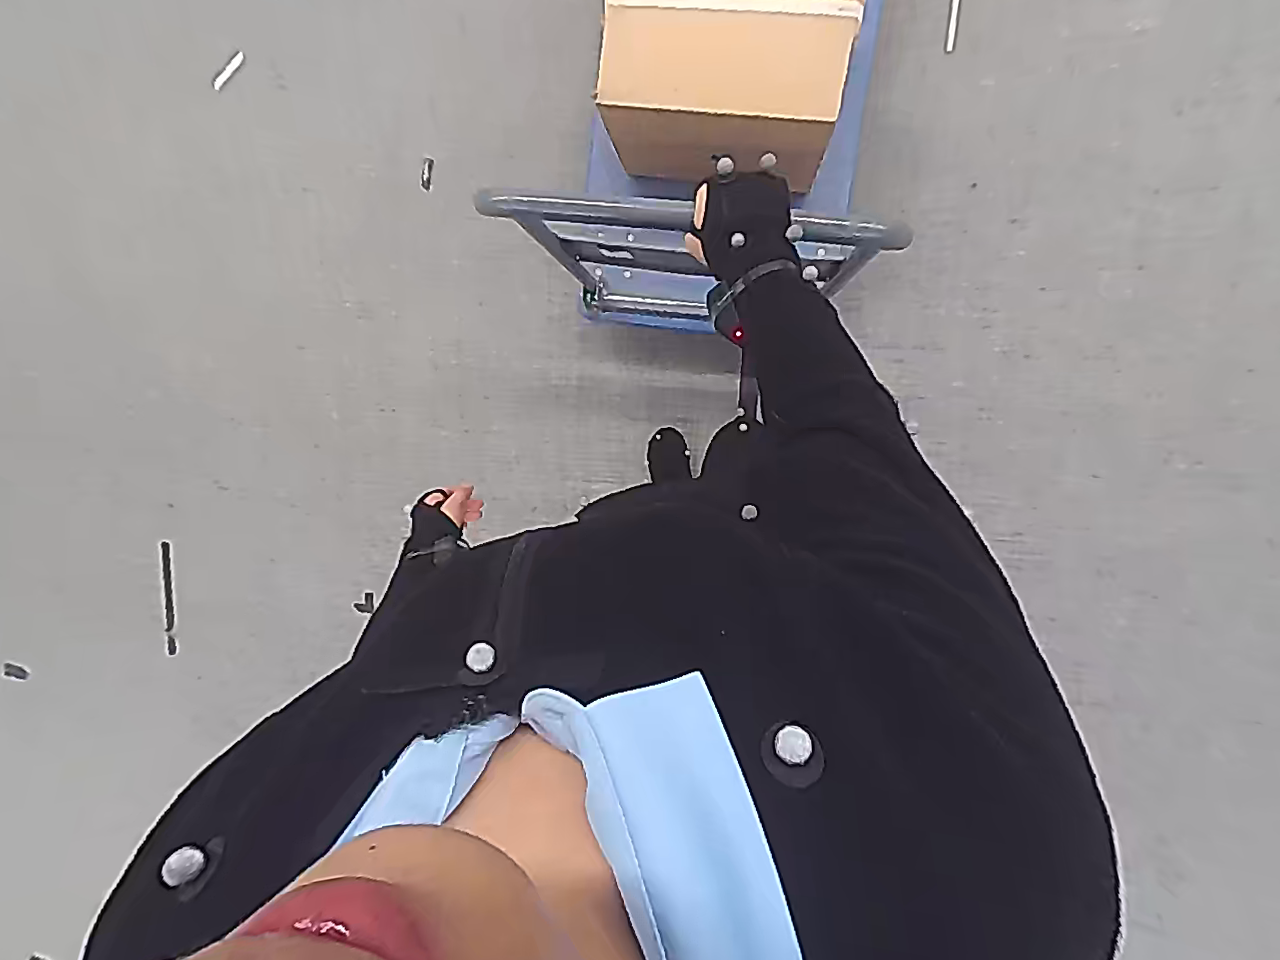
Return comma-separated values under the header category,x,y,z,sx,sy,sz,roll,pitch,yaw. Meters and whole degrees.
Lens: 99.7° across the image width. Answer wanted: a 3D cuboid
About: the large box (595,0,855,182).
category,x,y,z,sx,sy,sz,roll,pitch,yaw
large box,0.163,-0.779,1.000,0.408,0.320,0.320,9,99,9
